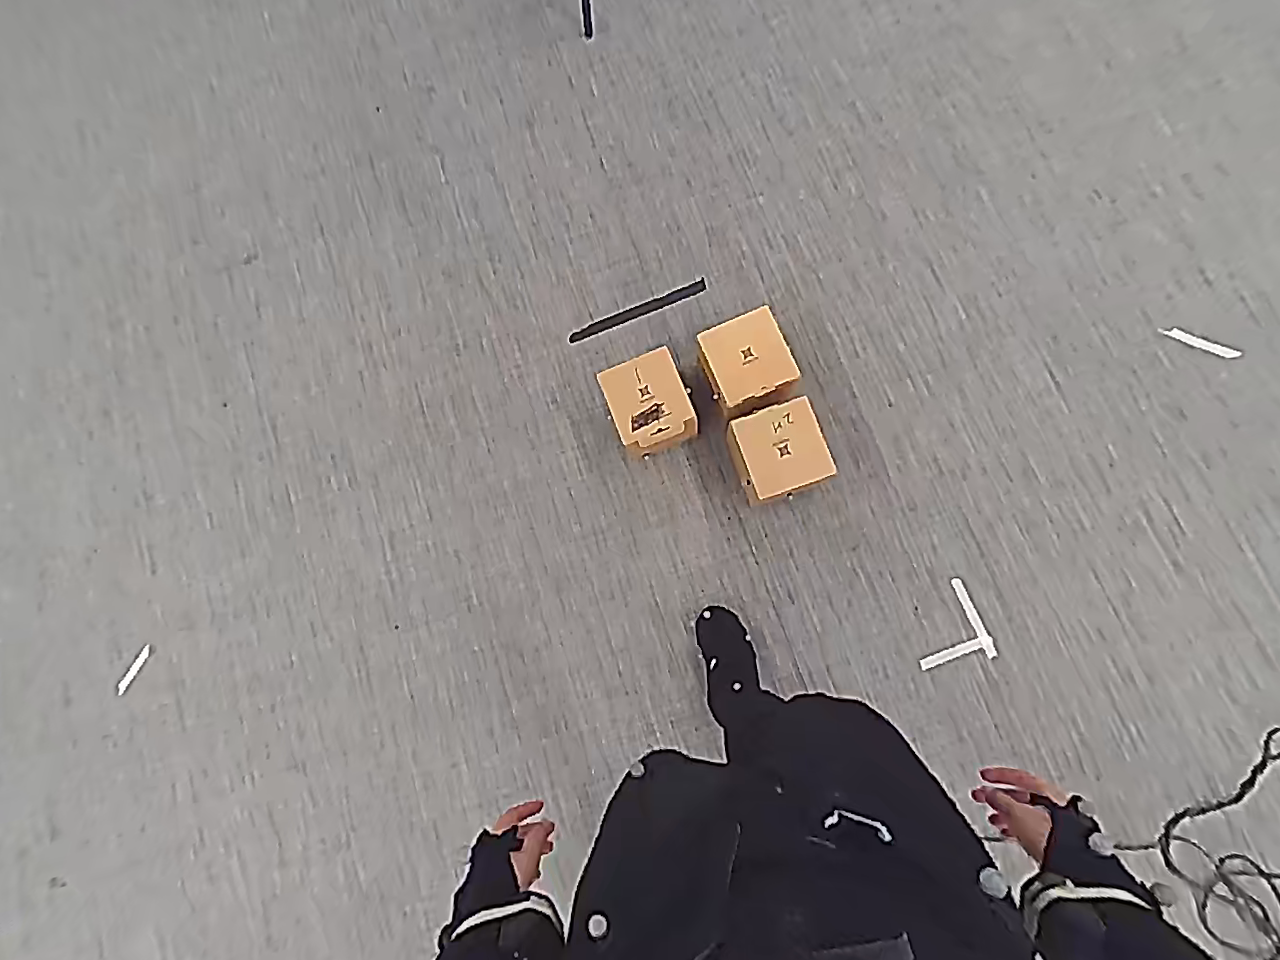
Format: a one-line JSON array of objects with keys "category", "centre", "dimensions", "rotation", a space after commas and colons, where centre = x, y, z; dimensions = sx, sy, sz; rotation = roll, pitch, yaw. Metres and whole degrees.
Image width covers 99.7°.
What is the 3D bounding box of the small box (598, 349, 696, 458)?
[{"category": "small box", "centre": [0.023, -0.160, 1.216], "dimensions": [0.168, 0.176, 0.179], "rotation": [-22, 78, 3]}]
